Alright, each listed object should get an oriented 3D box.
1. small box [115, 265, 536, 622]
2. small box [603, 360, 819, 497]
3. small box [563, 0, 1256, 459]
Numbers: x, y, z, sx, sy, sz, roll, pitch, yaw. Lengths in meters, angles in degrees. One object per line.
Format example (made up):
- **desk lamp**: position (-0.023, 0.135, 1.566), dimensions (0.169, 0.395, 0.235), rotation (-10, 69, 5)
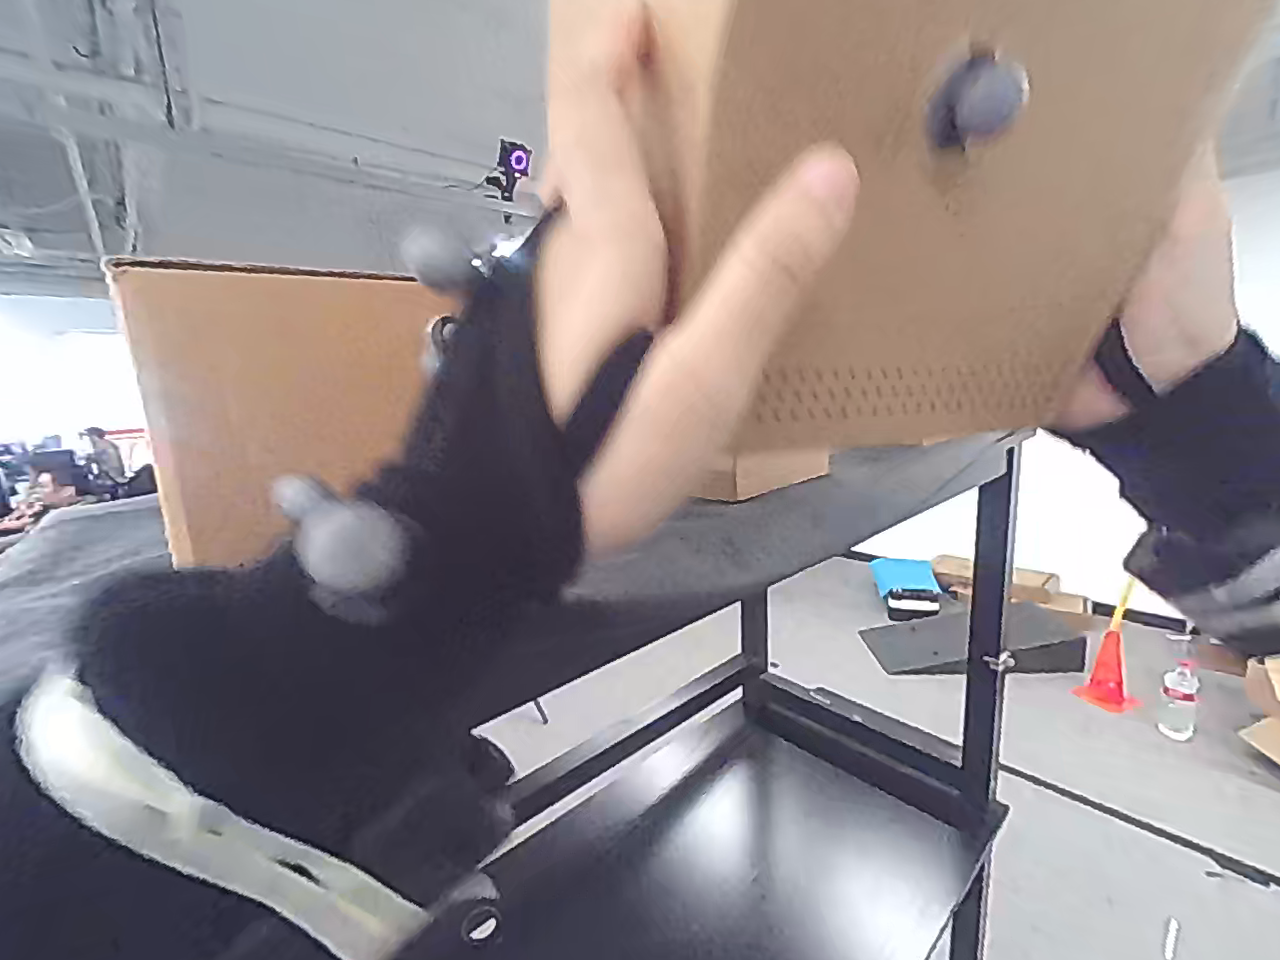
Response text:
- **small box**: position (-0.182, -0.024, 0.347), dimensions (0.179, 0.176, 0.168), rotation (-9, 9, -32)
- **small box**: position (0.082, -0.081, 0.578), dimensions (0.179, 0.176, 0.168), rotation (-12, 12, -43)
- **small box**: position (0.071, -0.118, 0.218), dimensions (0.179, 0.176, 0.168), rotation (-6, 34, -20)
